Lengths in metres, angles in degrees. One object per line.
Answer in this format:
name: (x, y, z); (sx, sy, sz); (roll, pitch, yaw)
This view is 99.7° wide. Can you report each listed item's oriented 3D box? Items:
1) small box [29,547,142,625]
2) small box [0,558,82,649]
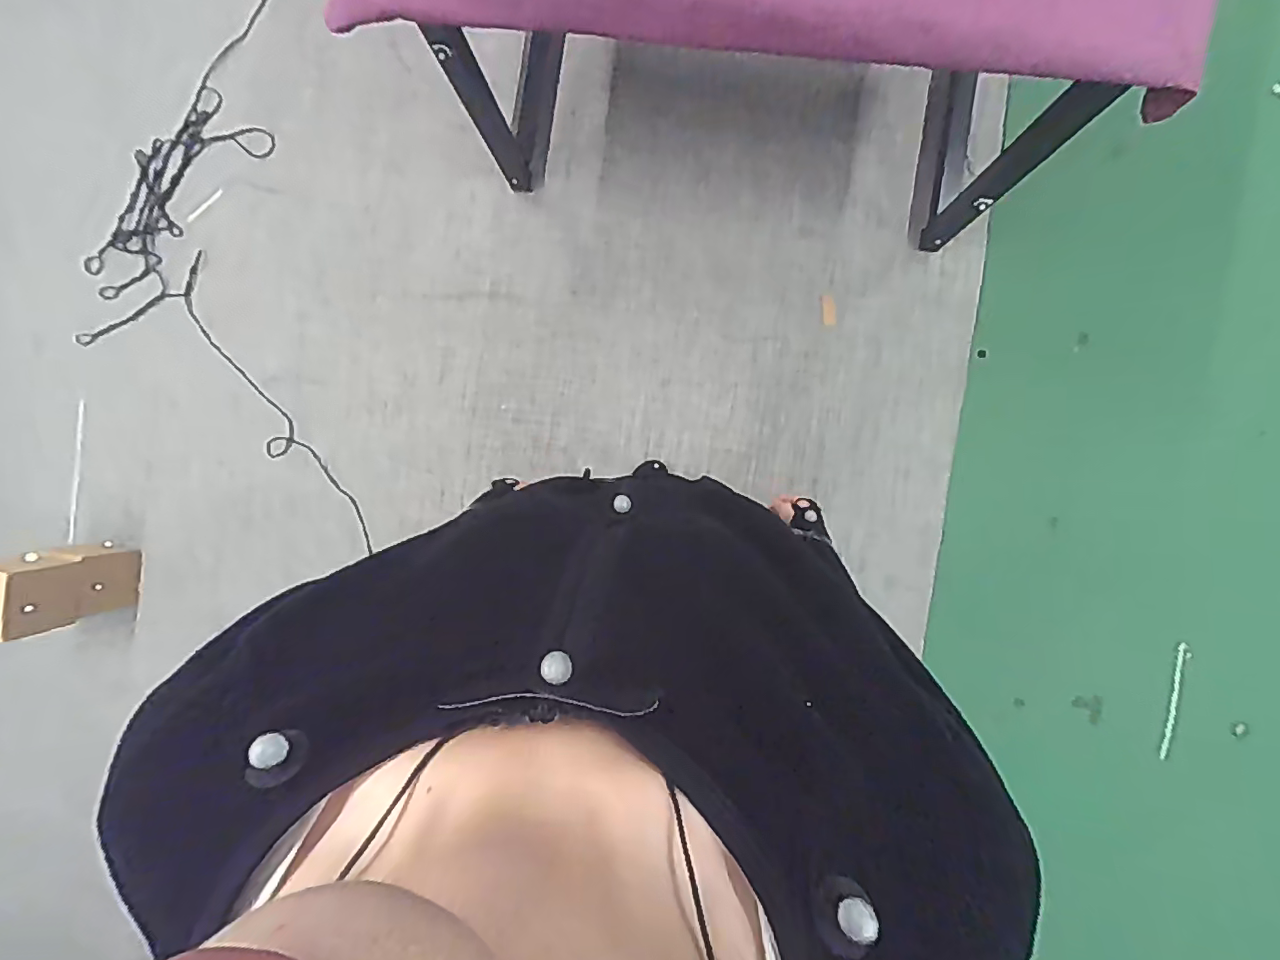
small box: (-1.575, 0.295, 1.539); (0.168, 0.176, 0.179); (7, 91, 3)
small box: (-1.588, 0.307, 1.375); (0.168, 0.176, 0.179); (7, 91, 3)
